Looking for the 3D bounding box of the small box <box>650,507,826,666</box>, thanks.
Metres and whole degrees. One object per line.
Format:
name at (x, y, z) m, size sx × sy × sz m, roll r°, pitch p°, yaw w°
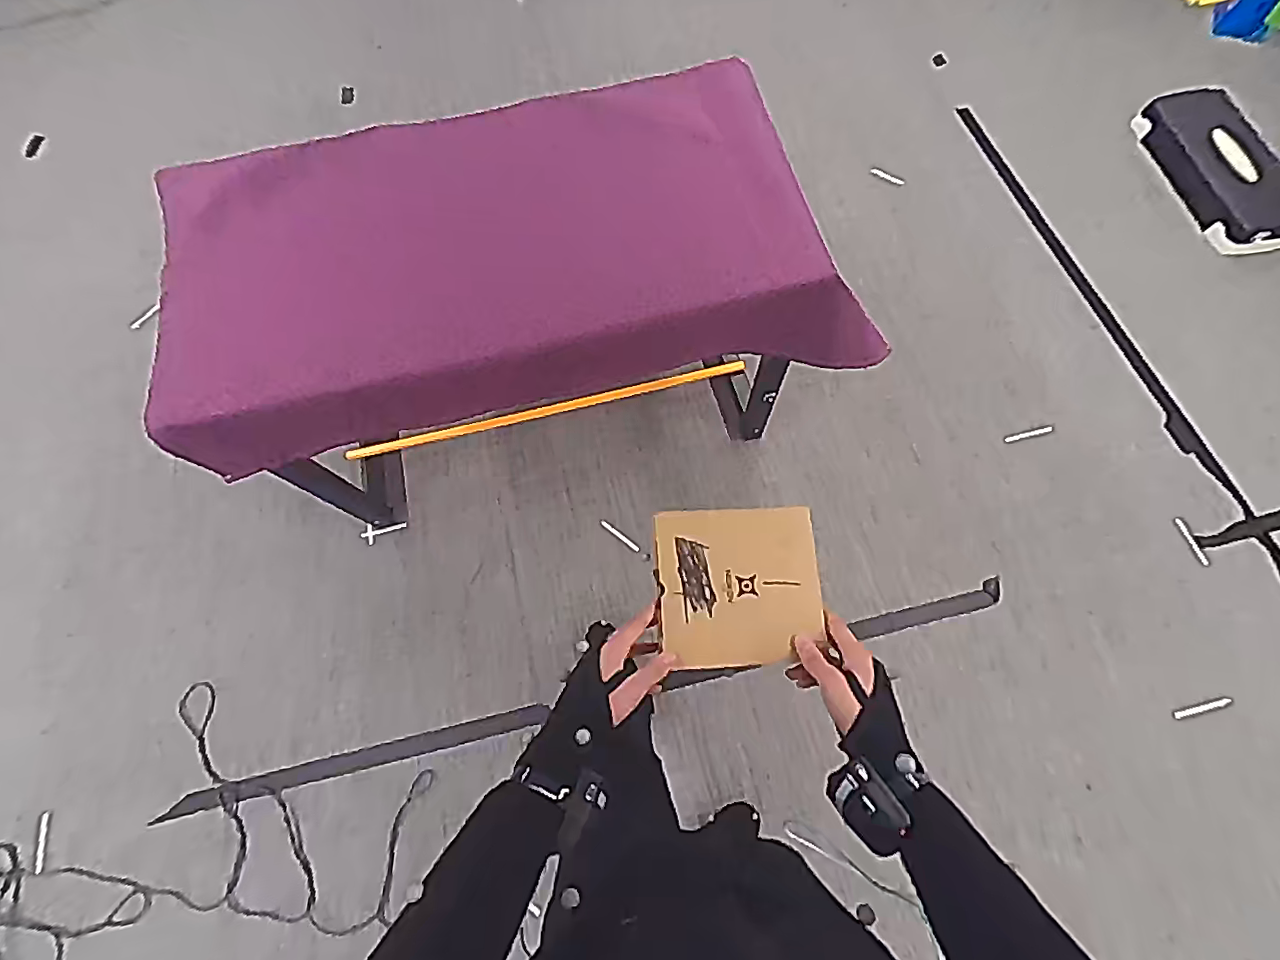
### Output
small box at (0.103, 0.133, 0.651) m, size 0.179 × 0.176 × 0.168 m, roll -3°, pitch 75°, yaw -1°
